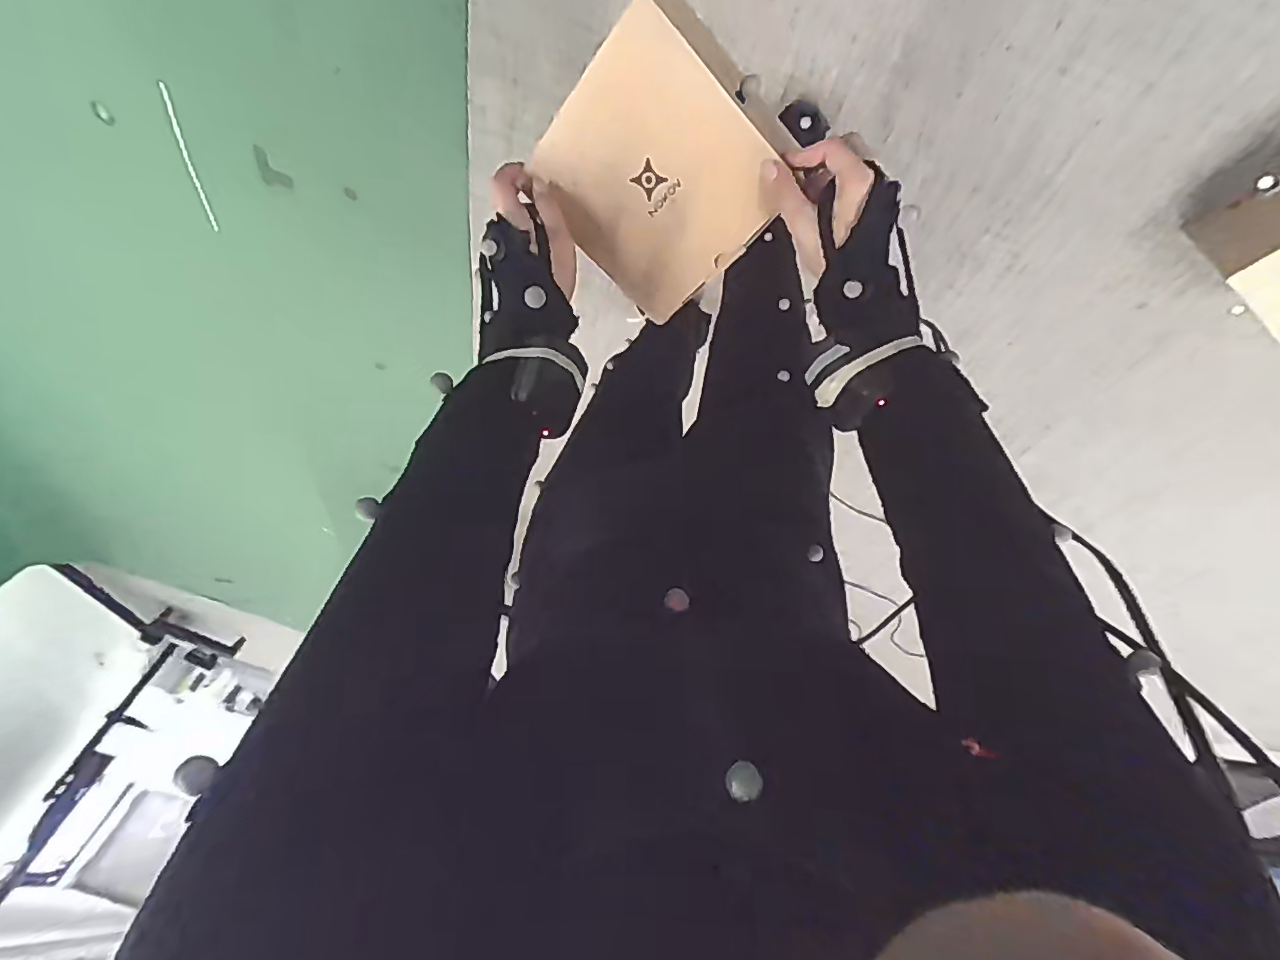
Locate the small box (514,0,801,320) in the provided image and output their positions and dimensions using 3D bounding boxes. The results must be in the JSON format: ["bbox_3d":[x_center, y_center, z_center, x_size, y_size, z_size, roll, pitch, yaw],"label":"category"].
[{"bbox_3d":[0.023,-0.288,0.492,0.179,0.176,0.168,39,128,-19],"label":"small box"}]

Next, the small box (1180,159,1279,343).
[{"bbox_3d":[0.943,-0.338,0.772,0.179,0.176,0.168,31,138,-15],"label":"small box"}]
